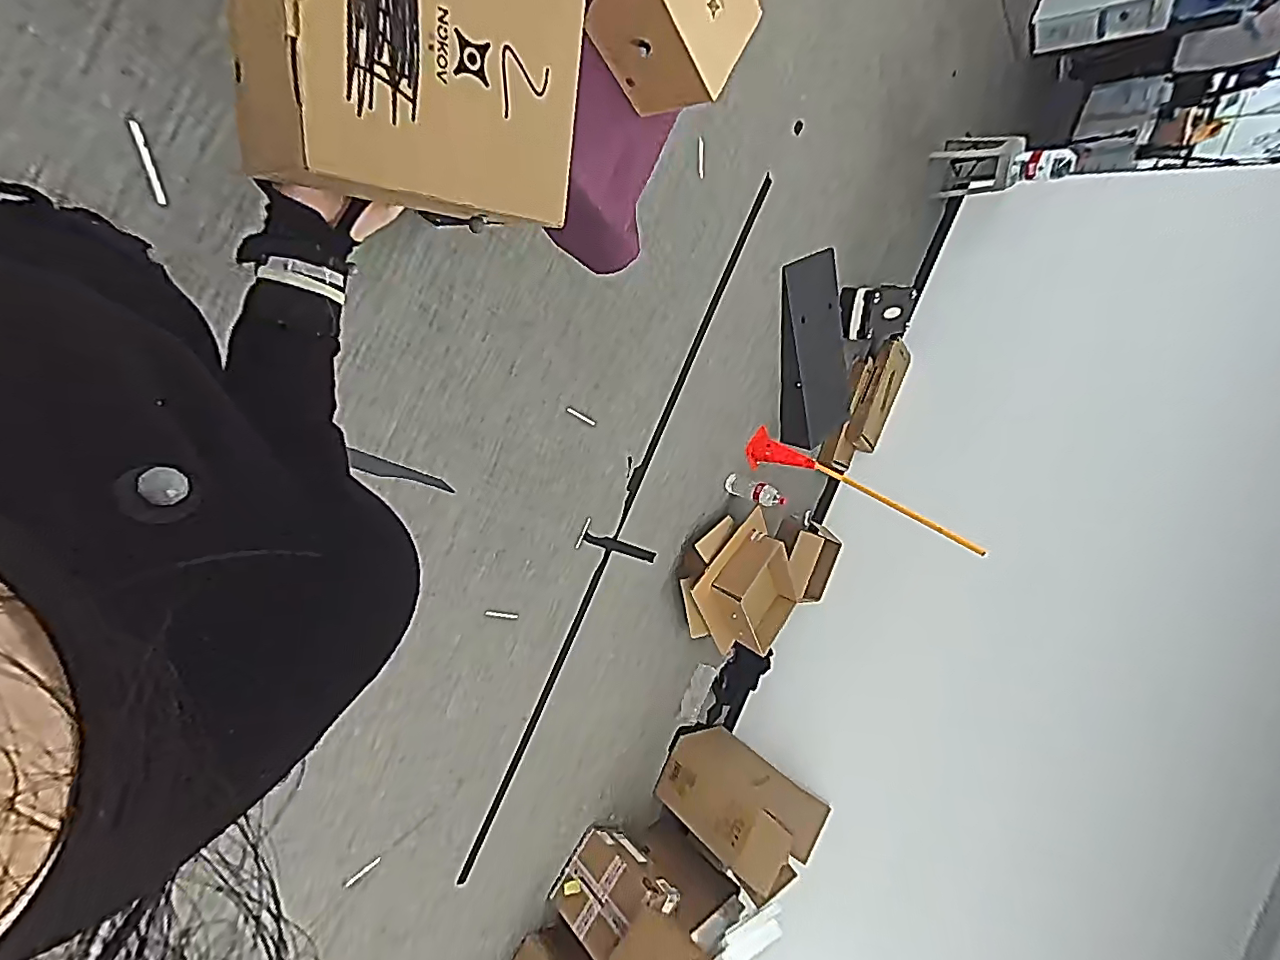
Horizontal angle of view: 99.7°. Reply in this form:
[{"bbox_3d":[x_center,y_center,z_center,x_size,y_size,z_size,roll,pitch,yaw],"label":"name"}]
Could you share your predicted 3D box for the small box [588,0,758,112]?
[{"bbox_3d":[0.046,-0.709,0.830,0.168,0.176,0.179,34,81,-49],"label":"small box"}]
